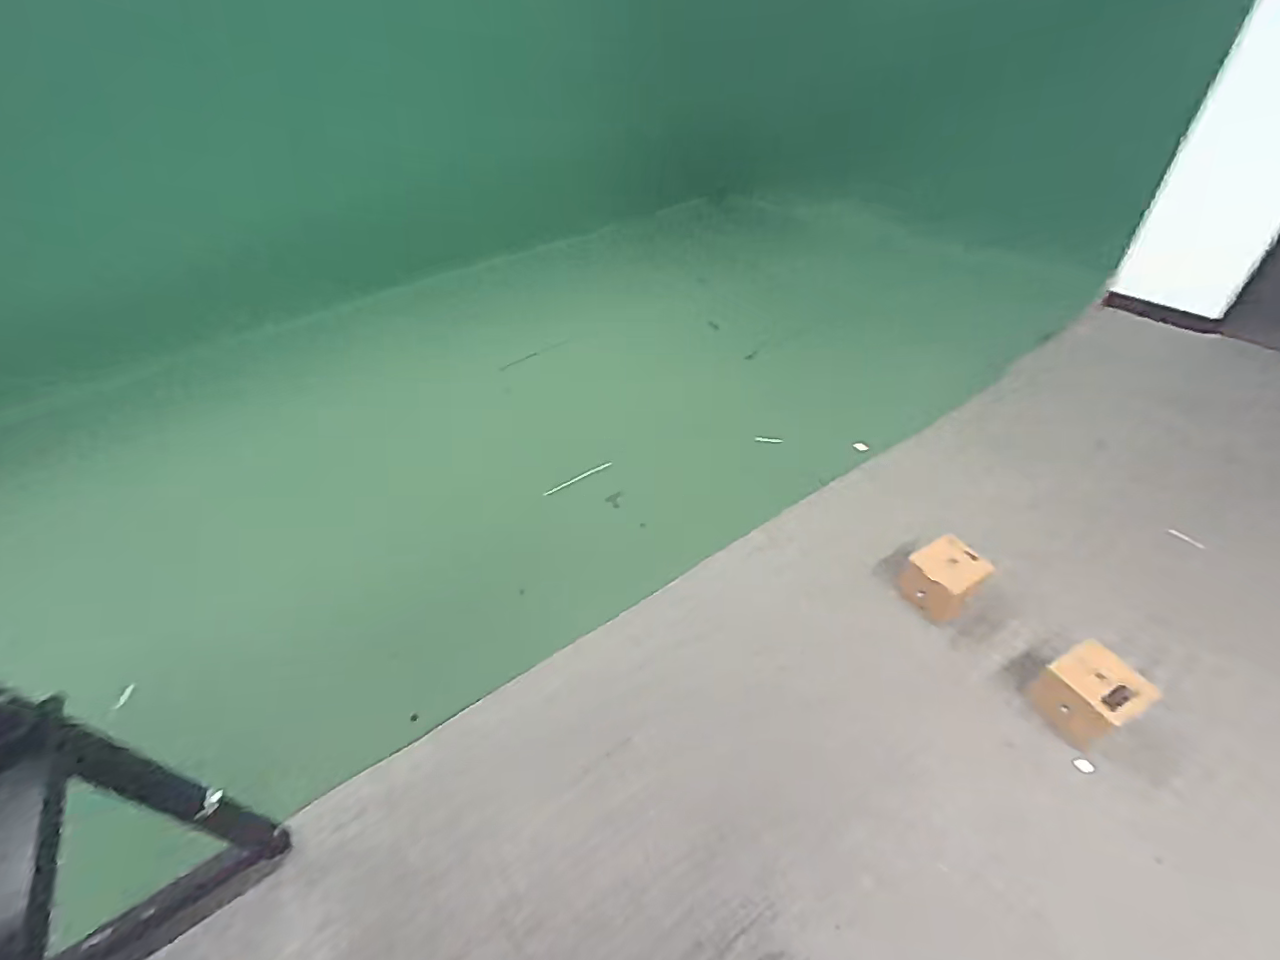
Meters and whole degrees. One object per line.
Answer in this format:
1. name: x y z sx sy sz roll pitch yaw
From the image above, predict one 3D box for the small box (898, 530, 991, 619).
1. small box: 0.916 0.291 1.647 0.179 0.176 0.168 -25 47 -16
